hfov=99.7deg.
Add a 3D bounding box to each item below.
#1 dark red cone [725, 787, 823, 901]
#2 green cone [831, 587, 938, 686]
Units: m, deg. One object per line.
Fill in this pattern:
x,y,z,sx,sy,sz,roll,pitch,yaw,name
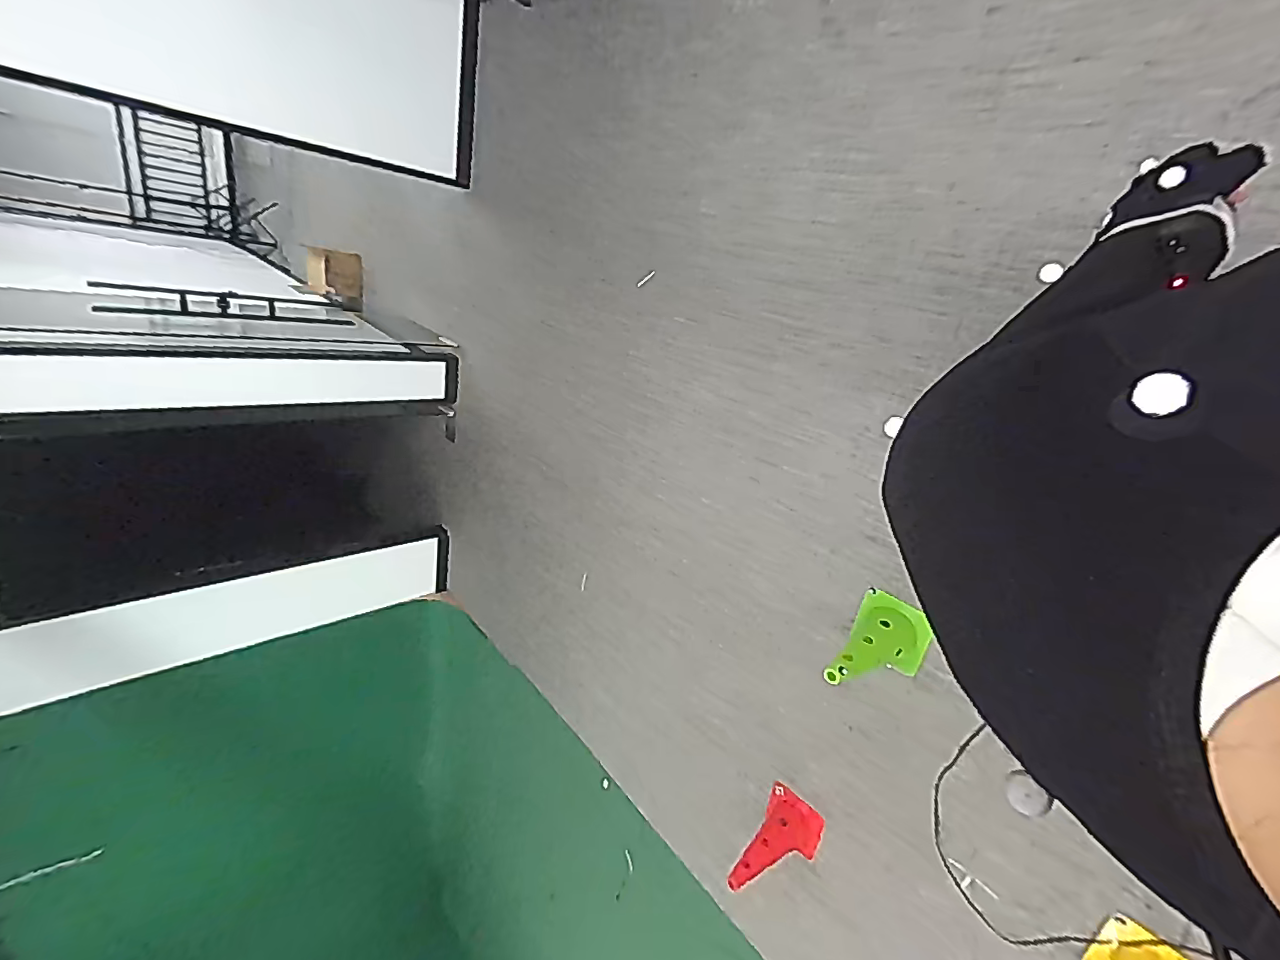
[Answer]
0.408,1.212,1.752,0.202,0.394,0.201,25,116,42,dark red cone
0.601,0.453,1.429,0.202,0.368,0.200,28,118,39,green cone
